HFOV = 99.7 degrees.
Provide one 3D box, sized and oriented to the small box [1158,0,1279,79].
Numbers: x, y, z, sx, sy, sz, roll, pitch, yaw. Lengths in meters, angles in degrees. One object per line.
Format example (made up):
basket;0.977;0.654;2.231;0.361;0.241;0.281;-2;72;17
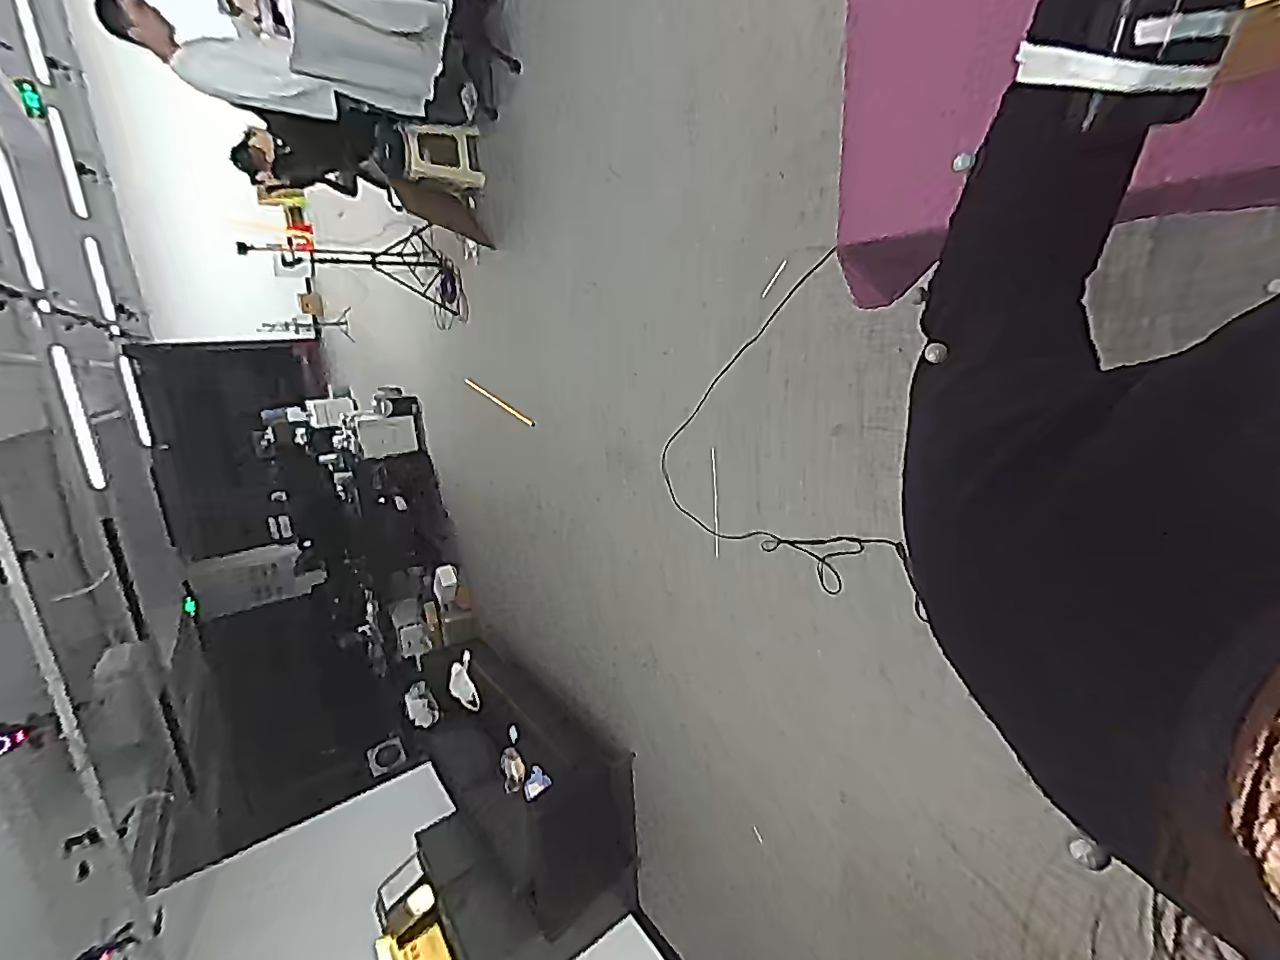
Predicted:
small box;0.530;-0.427;0.396;0.168;0.176;0.179;20;115;50
